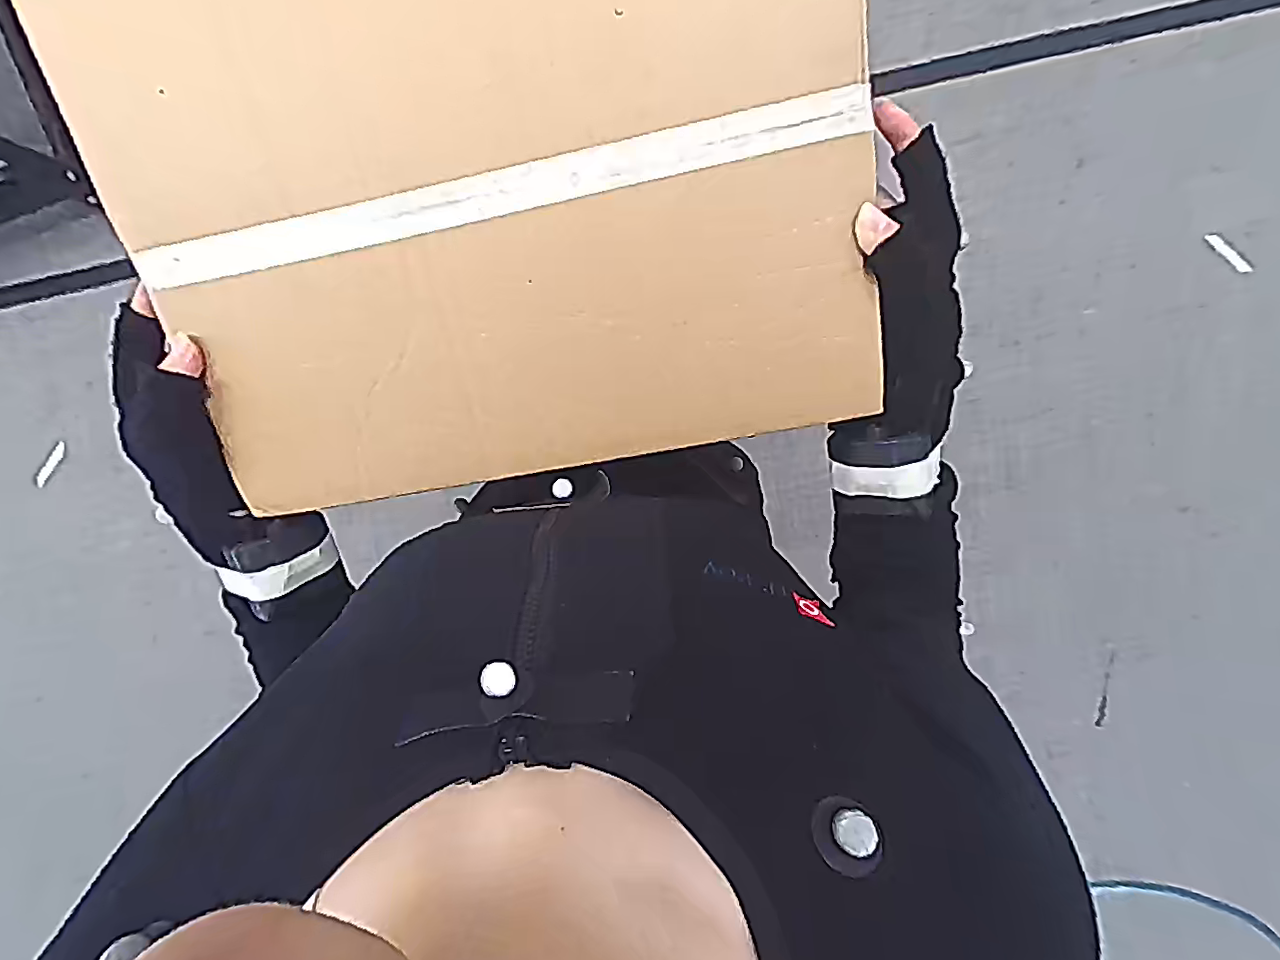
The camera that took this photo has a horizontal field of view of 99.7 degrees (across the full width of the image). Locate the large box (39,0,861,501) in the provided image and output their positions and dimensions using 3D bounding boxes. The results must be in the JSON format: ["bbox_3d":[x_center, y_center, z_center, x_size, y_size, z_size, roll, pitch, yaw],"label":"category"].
[{"bbox_3d":[-0.080,-0.211,0.437,0.408,0.320,0.320,-9,109,5],"label":"large box"}]
